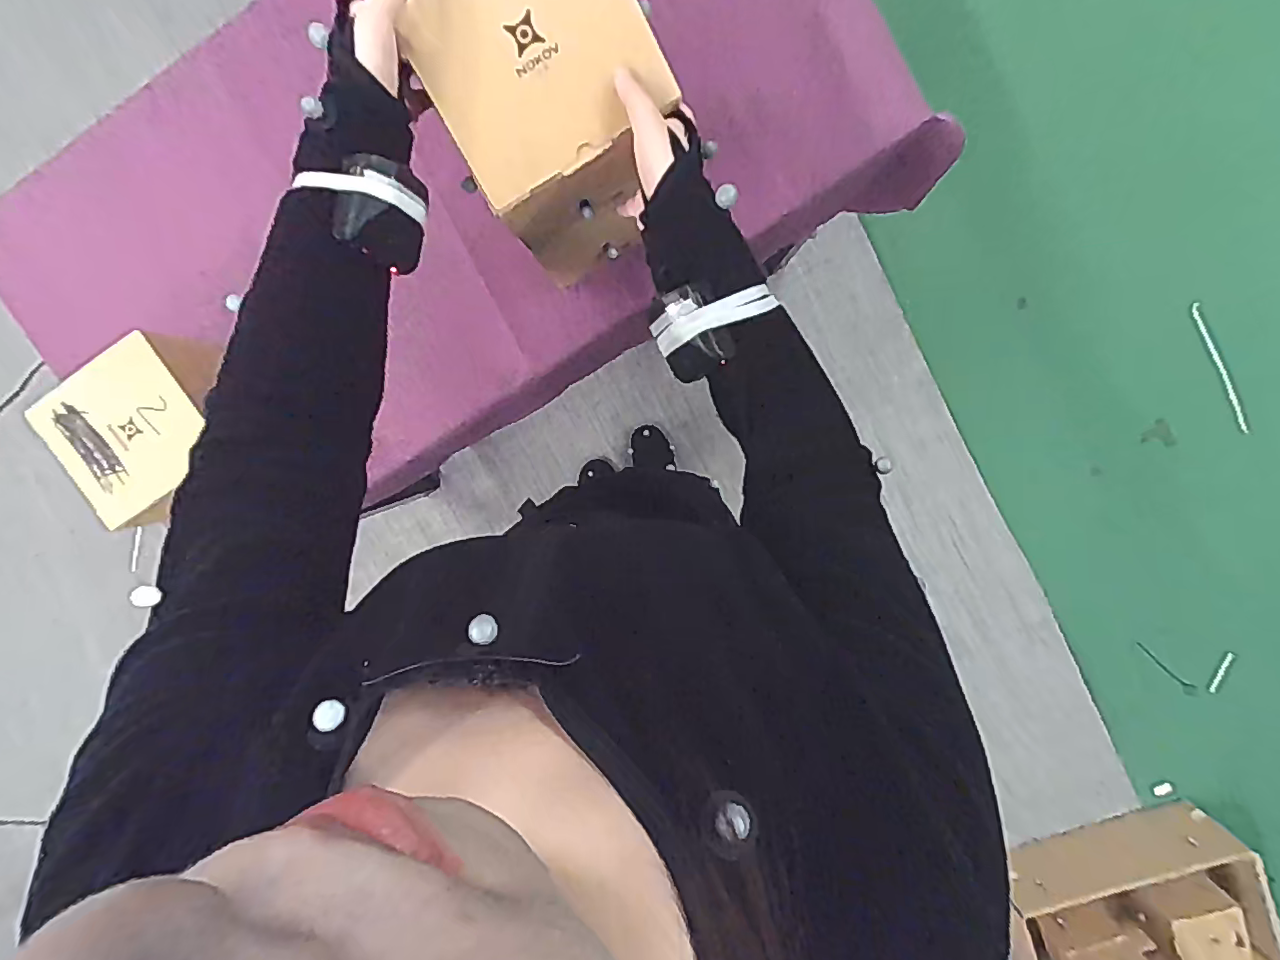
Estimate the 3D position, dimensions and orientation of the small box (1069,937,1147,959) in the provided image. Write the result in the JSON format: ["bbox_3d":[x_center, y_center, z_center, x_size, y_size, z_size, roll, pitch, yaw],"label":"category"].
[{"bbox_3d":[1.204,1.291,1.332,0.179,0.176,0.168,-22,96,4],"label":"small box"}]

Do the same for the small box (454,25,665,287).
[{"bbox_3d":[-0.082,-0.360,0.642,0.168,0.176,0.179,-29,95,6],"label":"small box"}]
